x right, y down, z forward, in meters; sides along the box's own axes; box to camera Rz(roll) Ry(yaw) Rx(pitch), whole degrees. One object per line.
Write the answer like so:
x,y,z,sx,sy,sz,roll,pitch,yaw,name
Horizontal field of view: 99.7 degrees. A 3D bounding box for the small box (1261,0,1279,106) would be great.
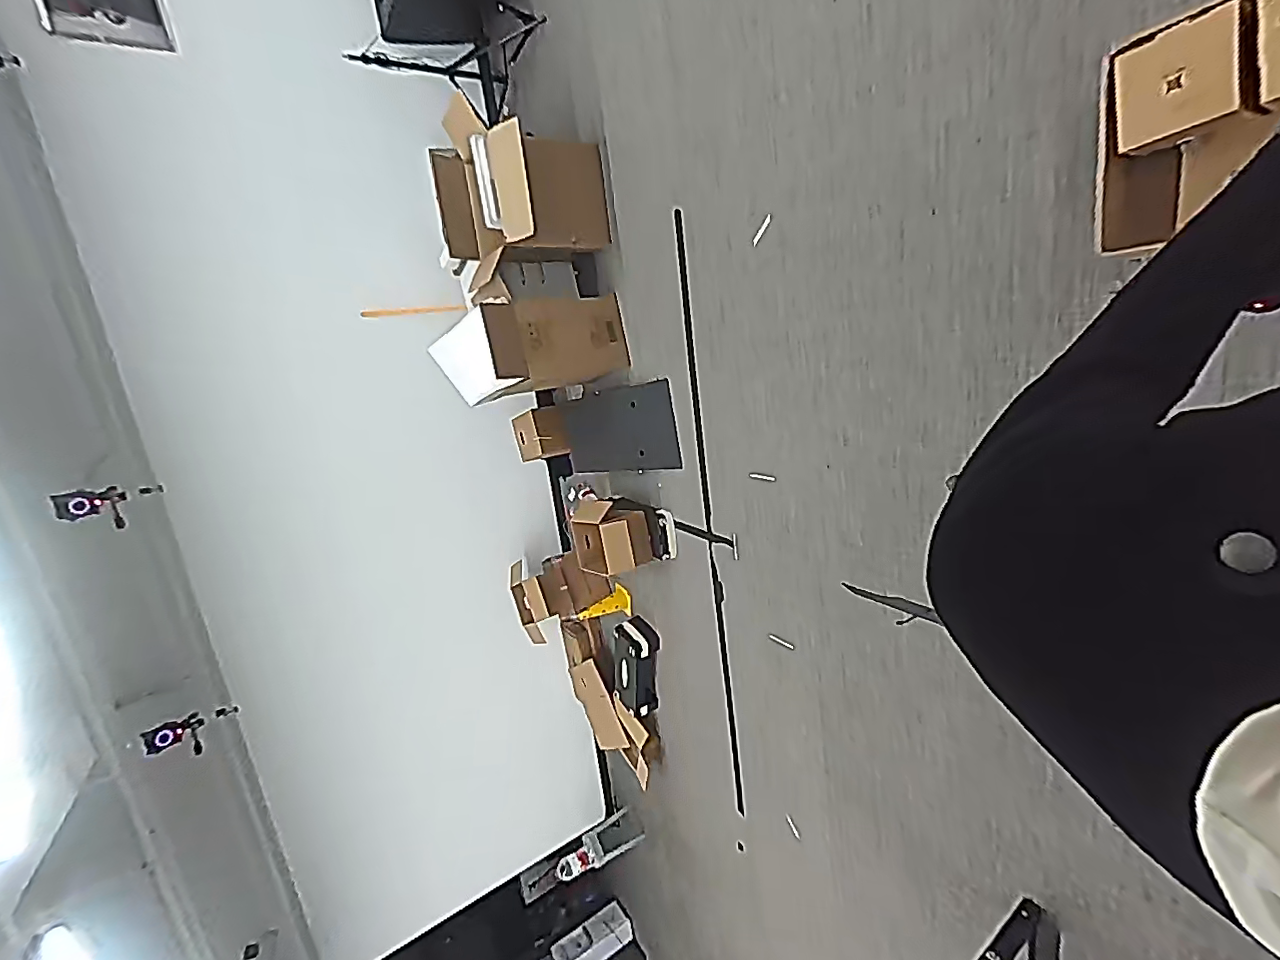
1.125,-0.725,0.849,0.179,0.176,0.168,3,106,58,small box
